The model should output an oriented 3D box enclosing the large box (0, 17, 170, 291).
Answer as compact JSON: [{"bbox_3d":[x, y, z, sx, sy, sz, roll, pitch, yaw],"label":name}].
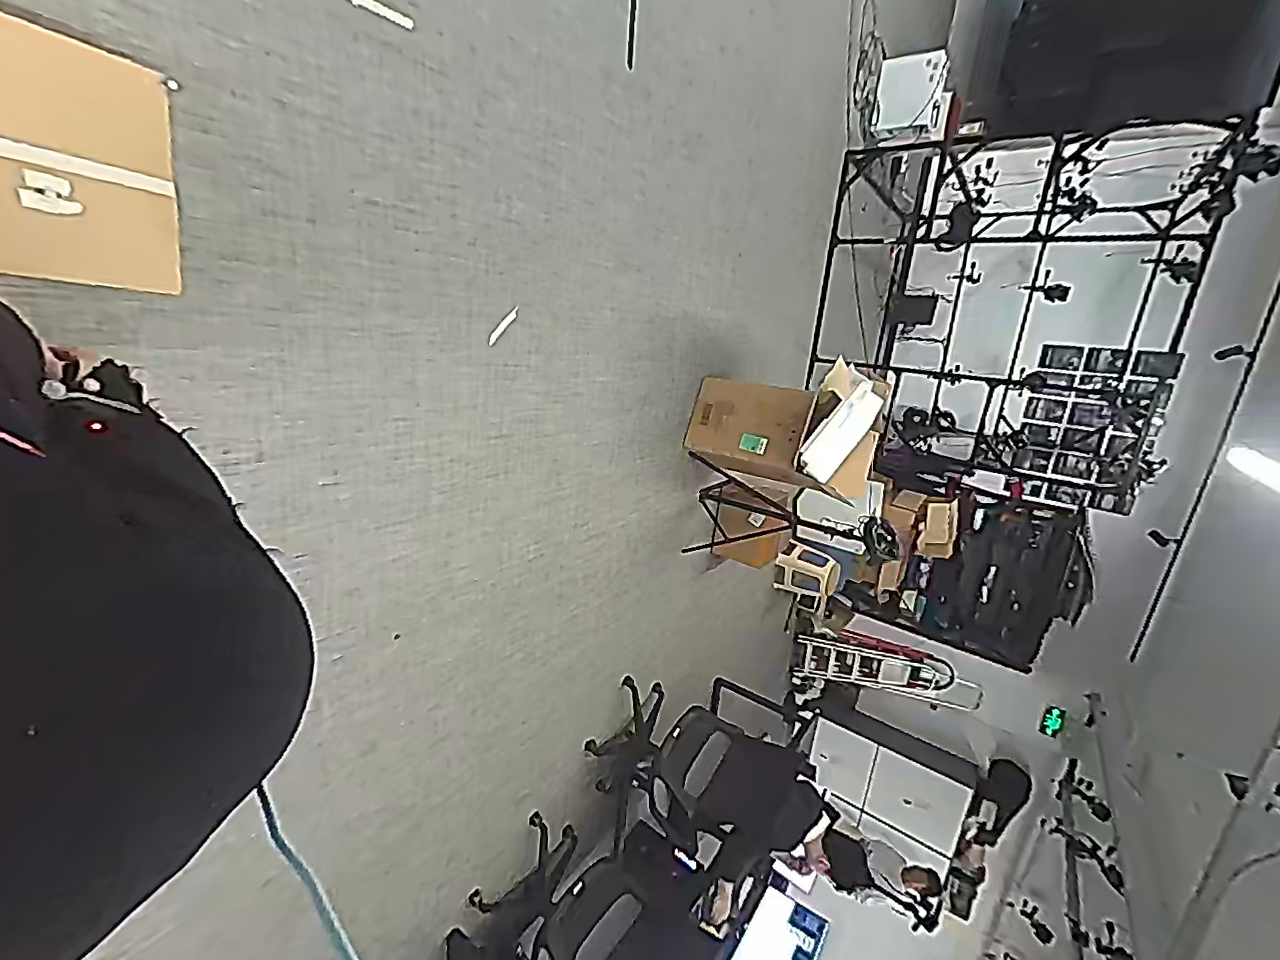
[{"bbox_3d":[-0.962,-0.450,0.736,0.408,0.320,0.320,-13,114,-56],"label":"large box"}]
